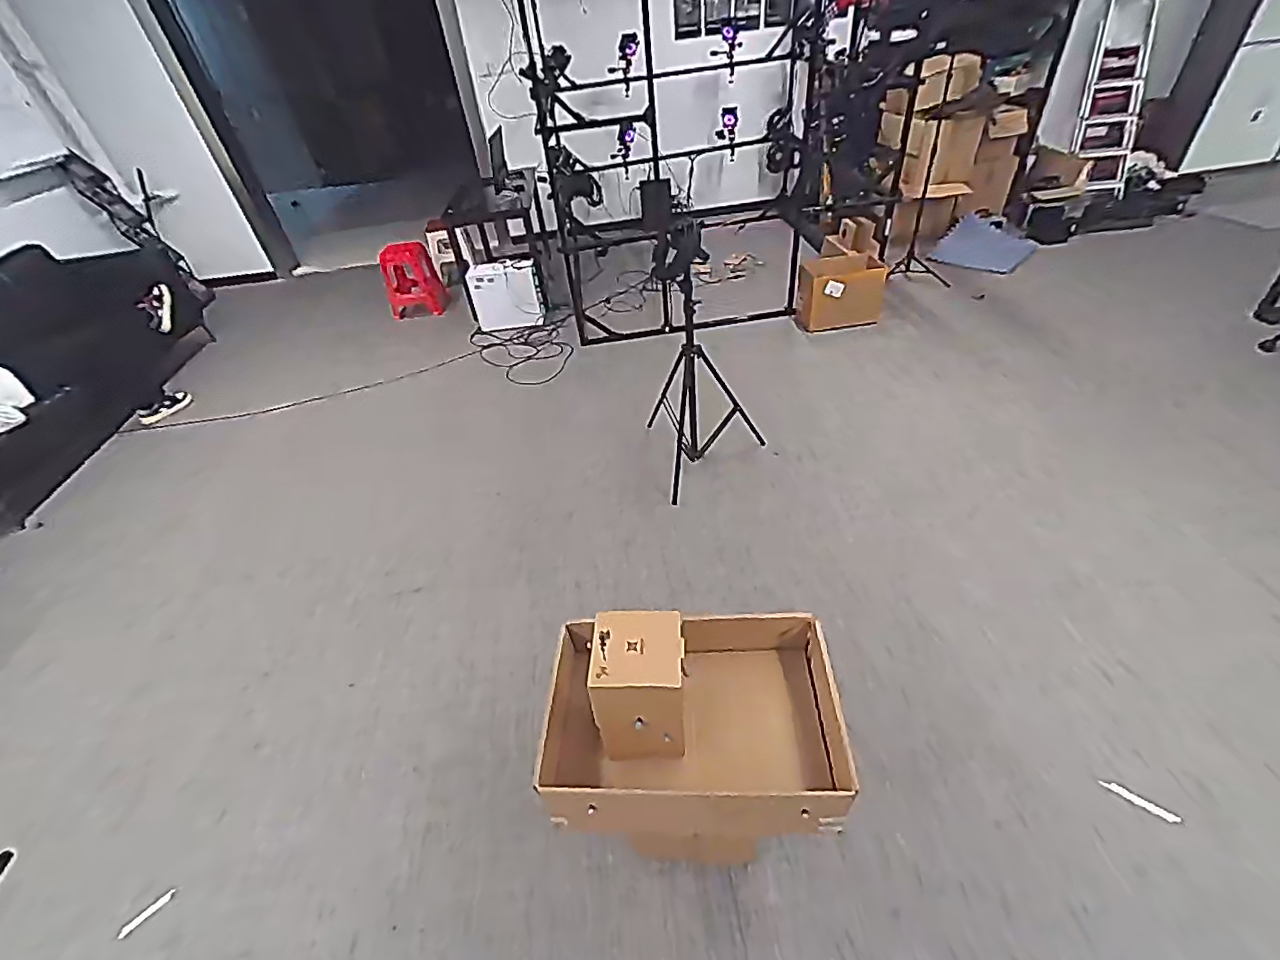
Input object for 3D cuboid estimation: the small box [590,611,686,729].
[{"bbox_3d":[0.003,0.382,1.086,0.179,0.176,0.168,0,40,5],"label":"small box"}]
